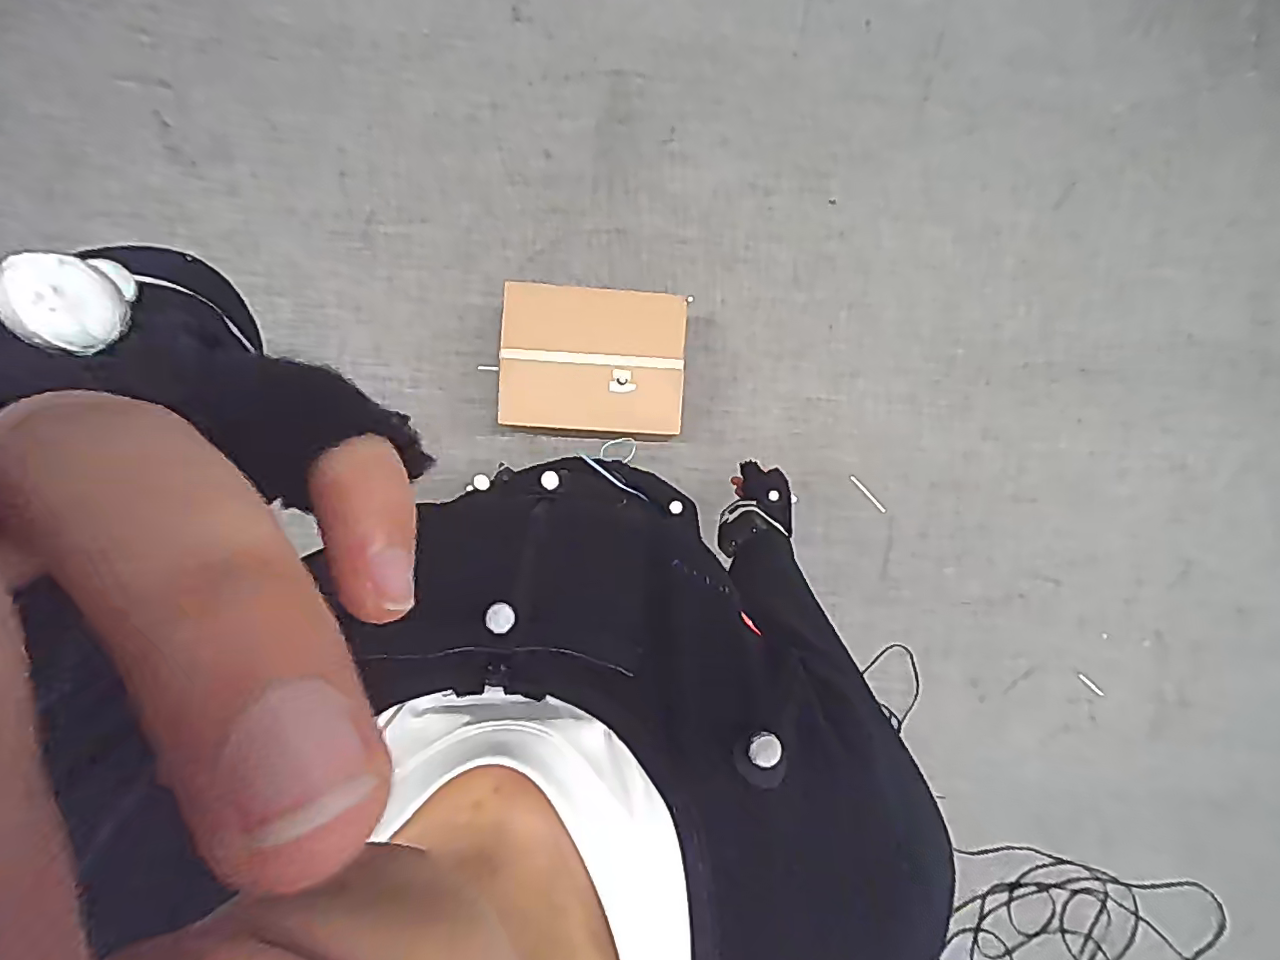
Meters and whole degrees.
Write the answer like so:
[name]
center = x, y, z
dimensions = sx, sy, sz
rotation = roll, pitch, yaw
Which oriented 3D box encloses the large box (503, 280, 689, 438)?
[large box]
center = -0.106, -0.275, 1.334
dimensions = 0.408, 0.320, 0.320
rotation = 3, 91, -4
